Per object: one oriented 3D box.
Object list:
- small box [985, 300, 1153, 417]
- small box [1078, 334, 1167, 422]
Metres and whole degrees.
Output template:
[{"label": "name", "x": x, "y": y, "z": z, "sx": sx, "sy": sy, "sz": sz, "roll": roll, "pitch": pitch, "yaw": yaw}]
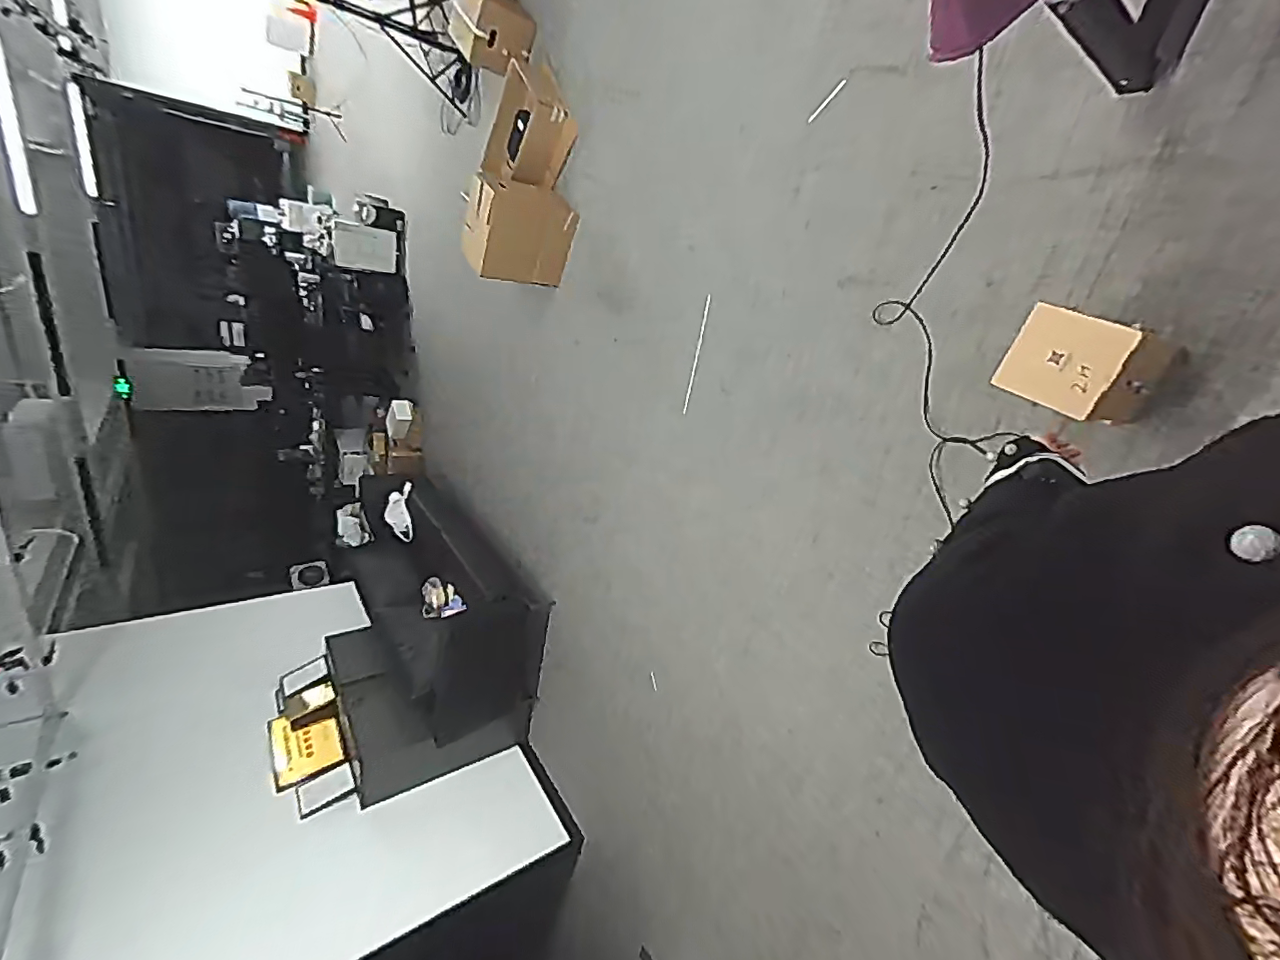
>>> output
[{"label": "small box", "x": 0.822, "y": -0.230, "z": 1.041, "sx": 0.179, "sy": 0.176, "sz": 0.168, "roll": 43, "pitch": 127, "yaw": 40}, {"label": "small box", "x": 0.955, "y": -0.235, "z": 1.140, "sx": 0.168, "sy": 0.176, "sz": 0.179, "roll": 39, "pitch": 124, "yaw": 42}]
